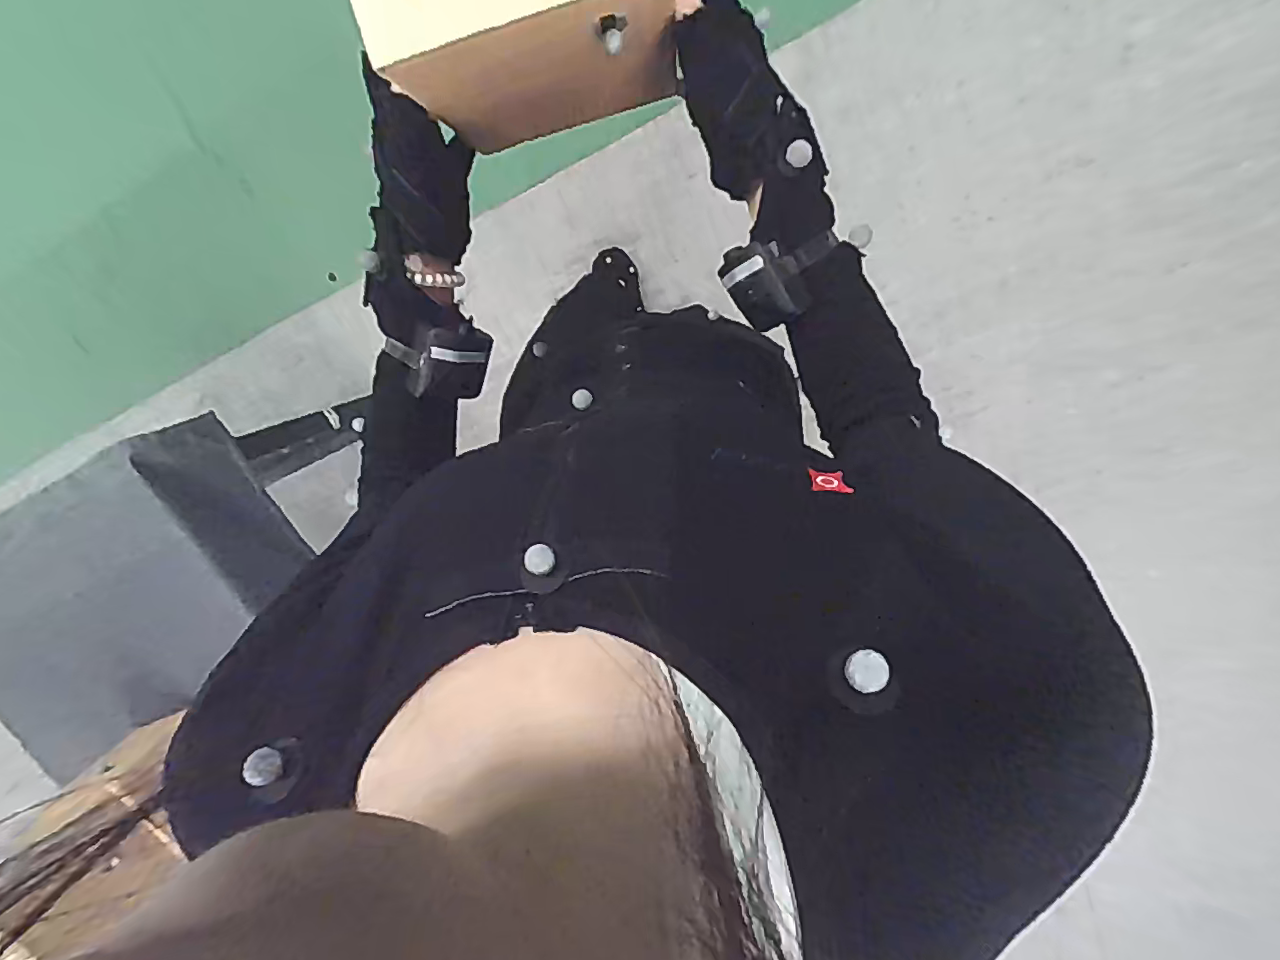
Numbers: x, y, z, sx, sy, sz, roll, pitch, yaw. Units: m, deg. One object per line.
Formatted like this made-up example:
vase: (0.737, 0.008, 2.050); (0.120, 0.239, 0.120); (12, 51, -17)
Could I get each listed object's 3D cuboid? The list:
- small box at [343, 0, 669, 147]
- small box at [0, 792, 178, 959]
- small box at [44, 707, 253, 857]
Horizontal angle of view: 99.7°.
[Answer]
small box: (-0.084, -0.346, 0.348); (0.179, 0.176, 0.168); (-13, 105, 8)
small box: (-0.831, 0.588, 0.769); (0.179, 0.176, 0.168); (-25, 106, 12)
small box: (-0.809, 0.518, 0.917); (0.179, 0.176, 0.168); (-23, 105, 13)
